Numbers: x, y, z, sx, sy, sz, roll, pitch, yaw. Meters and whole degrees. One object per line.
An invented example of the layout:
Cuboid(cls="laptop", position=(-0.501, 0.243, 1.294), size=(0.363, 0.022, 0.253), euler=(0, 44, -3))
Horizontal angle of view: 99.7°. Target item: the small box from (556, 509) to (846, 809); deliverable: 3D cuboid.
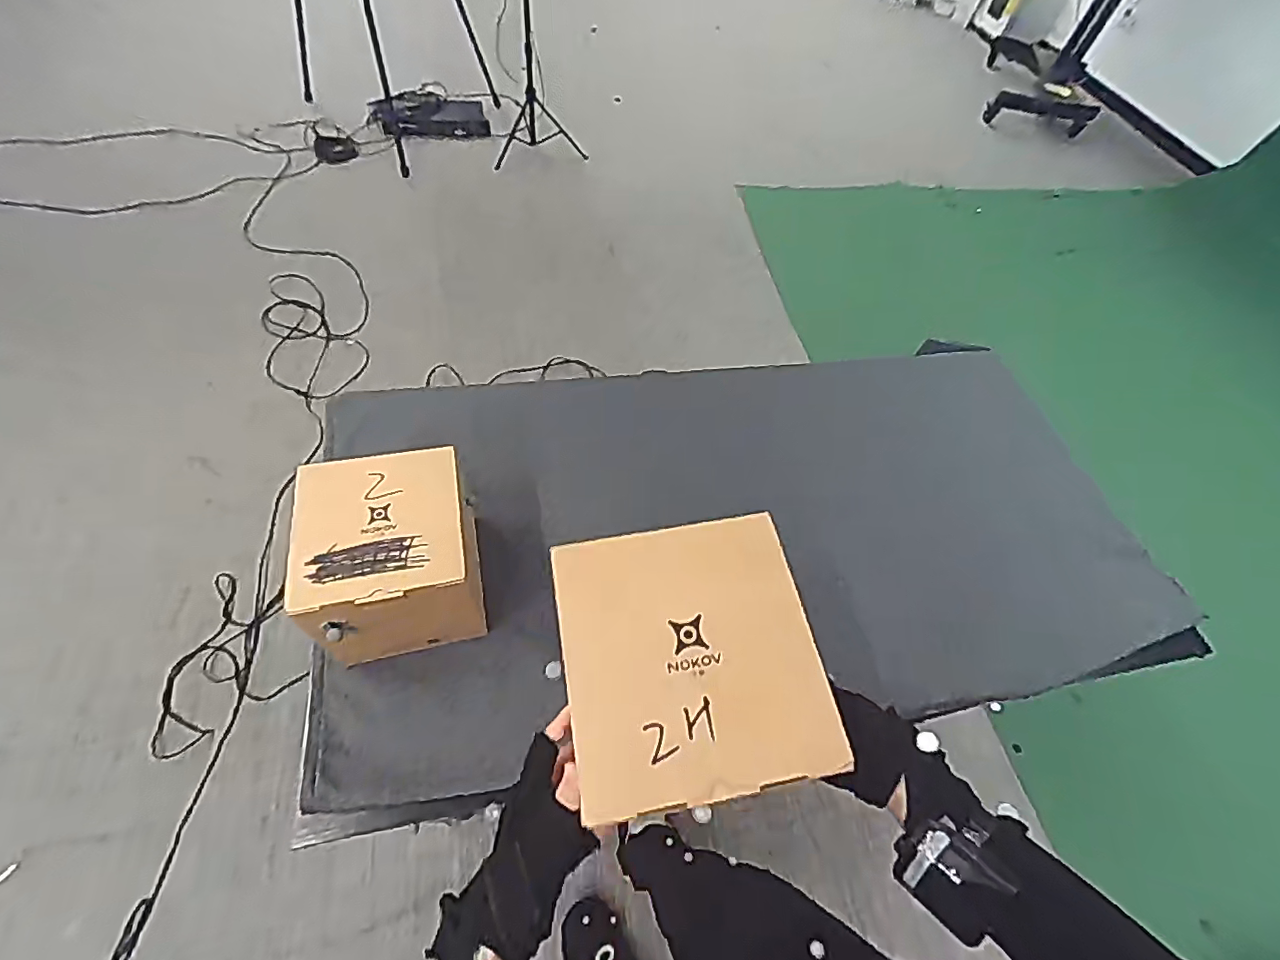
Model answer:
Cuboid(cls="small box", position=(0.028, 0.145, 0.426), size=(0.168, 0.176, 0.179), euler=(-8, 61, -6))
